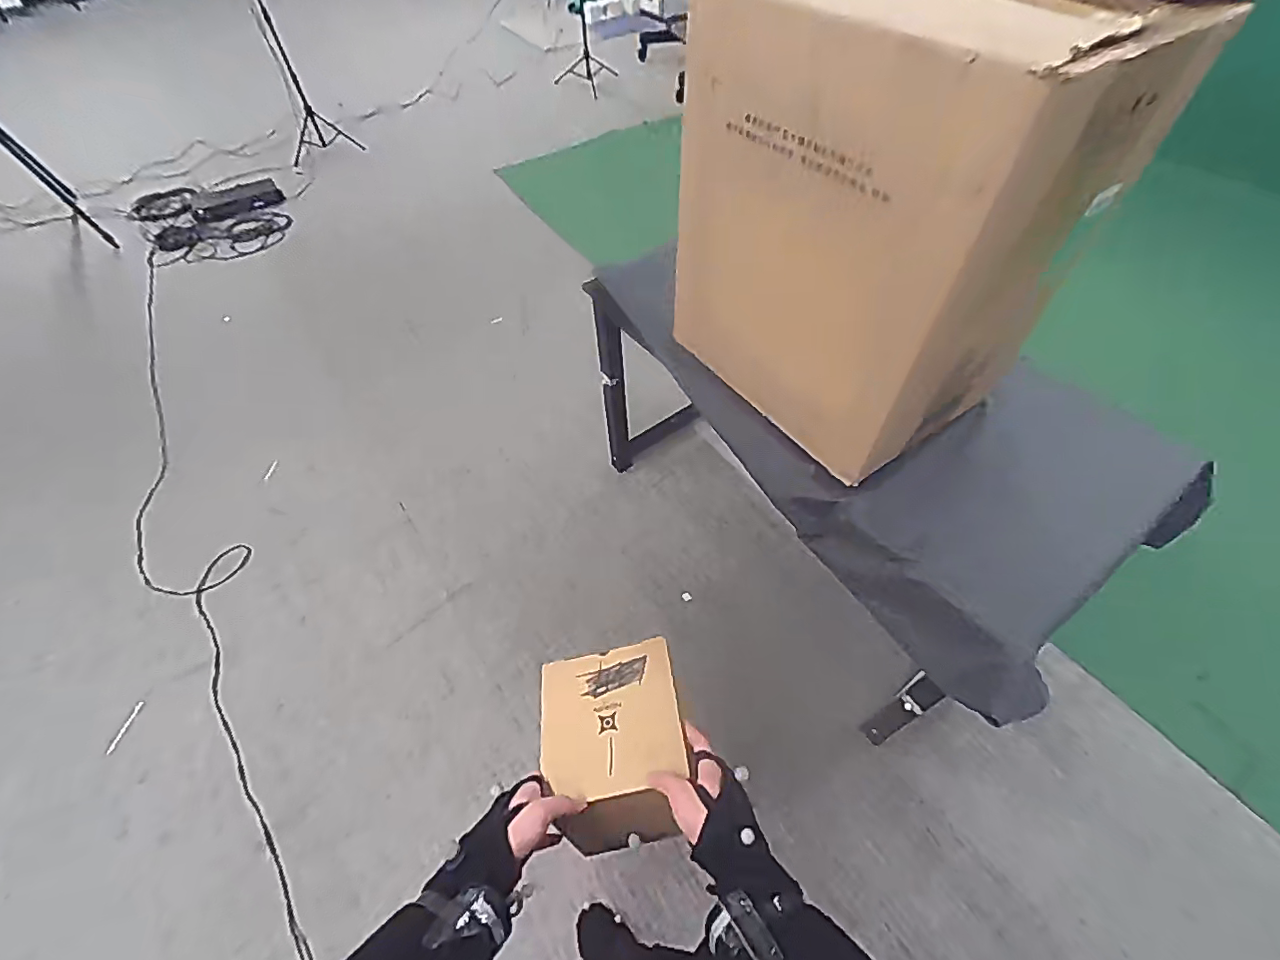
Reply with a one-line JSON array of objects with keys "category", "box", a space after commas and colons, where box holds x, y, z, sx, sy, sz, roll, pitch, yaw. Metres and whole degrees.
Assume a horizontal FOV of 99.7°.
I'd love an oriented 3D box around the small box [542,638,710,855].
[{"category": "small box", "box": [-0.017, 0.334, 0.679, 0.168, 0.176, 0.179, -15, 40, 3]}]
